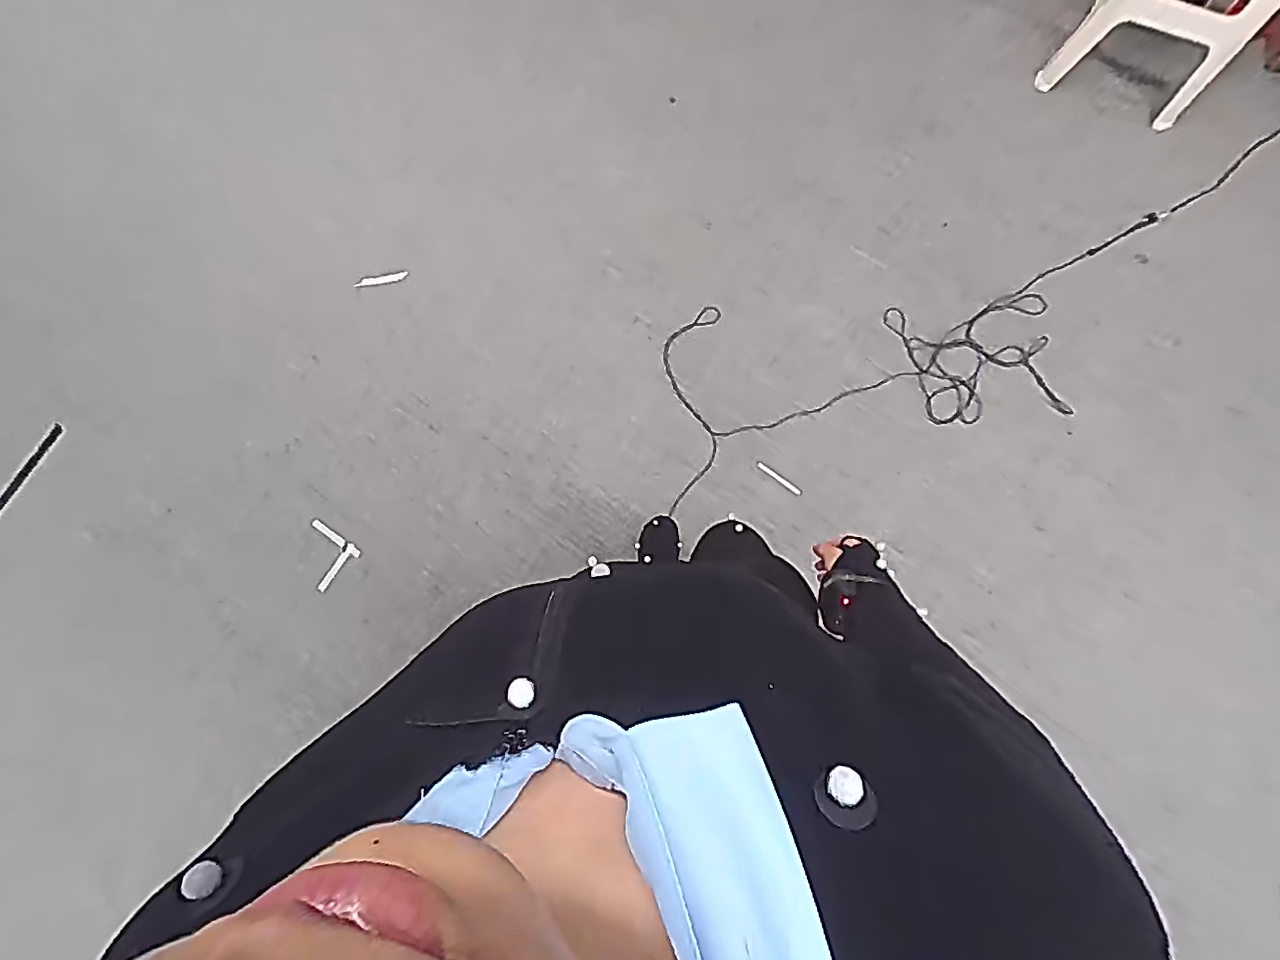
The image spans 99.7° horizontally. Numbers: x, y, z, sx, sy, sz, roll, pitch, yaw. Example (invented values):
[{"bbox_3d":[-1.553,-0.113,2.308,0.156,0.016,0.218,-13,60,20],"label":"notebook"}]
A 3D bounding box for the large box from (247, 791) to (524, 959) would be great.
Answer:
[{"bbox_3d":[-0.521,0.962,1.132,0.408,0.320,0.320,36,87,6],"label":"large box"}]
